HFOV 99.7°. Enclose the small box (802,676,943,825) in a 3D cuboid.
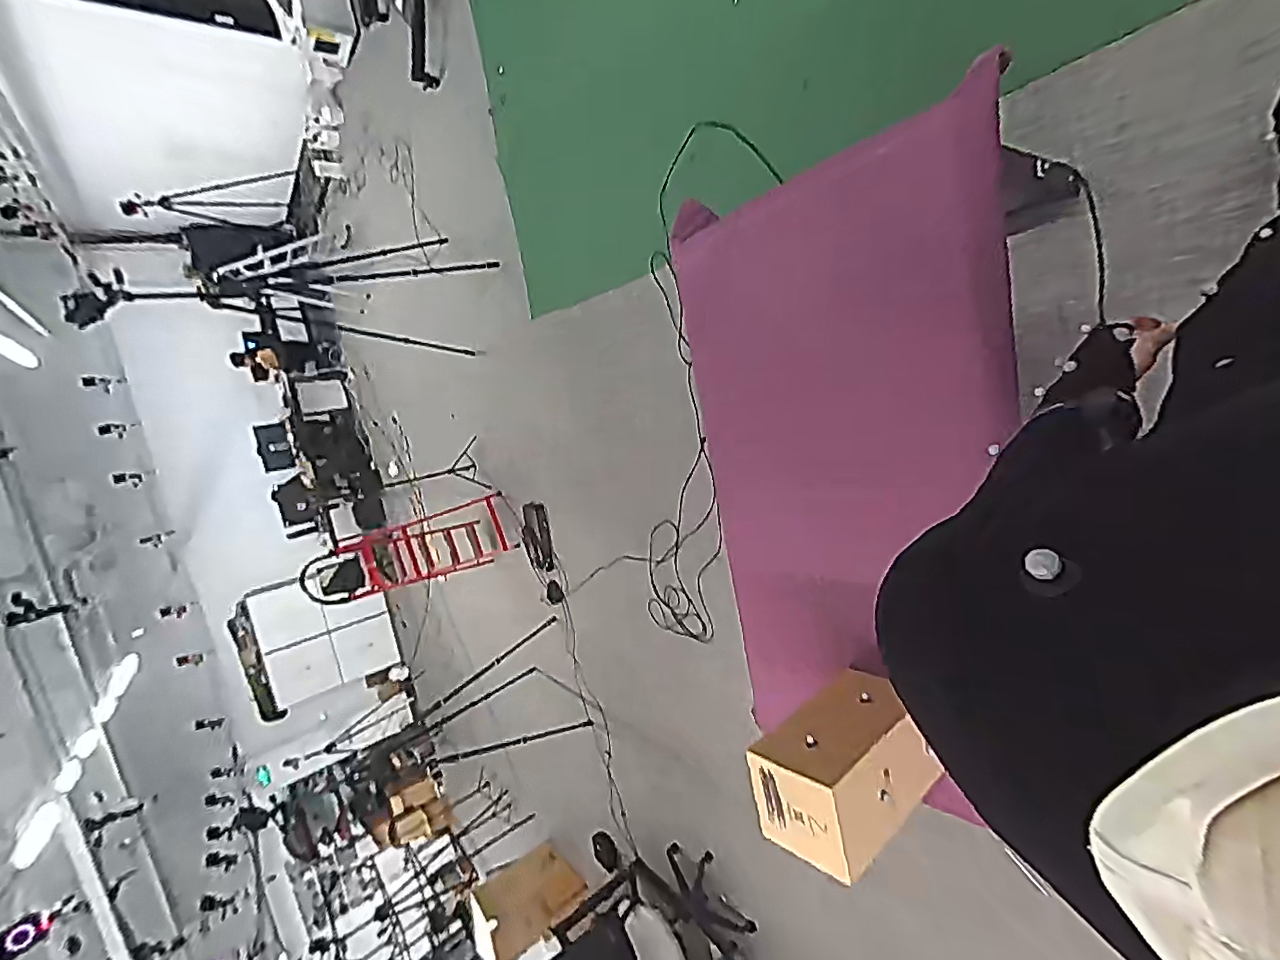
[{"bbox_3d":[0.437,0.492,1.018,0.179,0.176,0.168,-5,99,51],"label":"small box"}]
